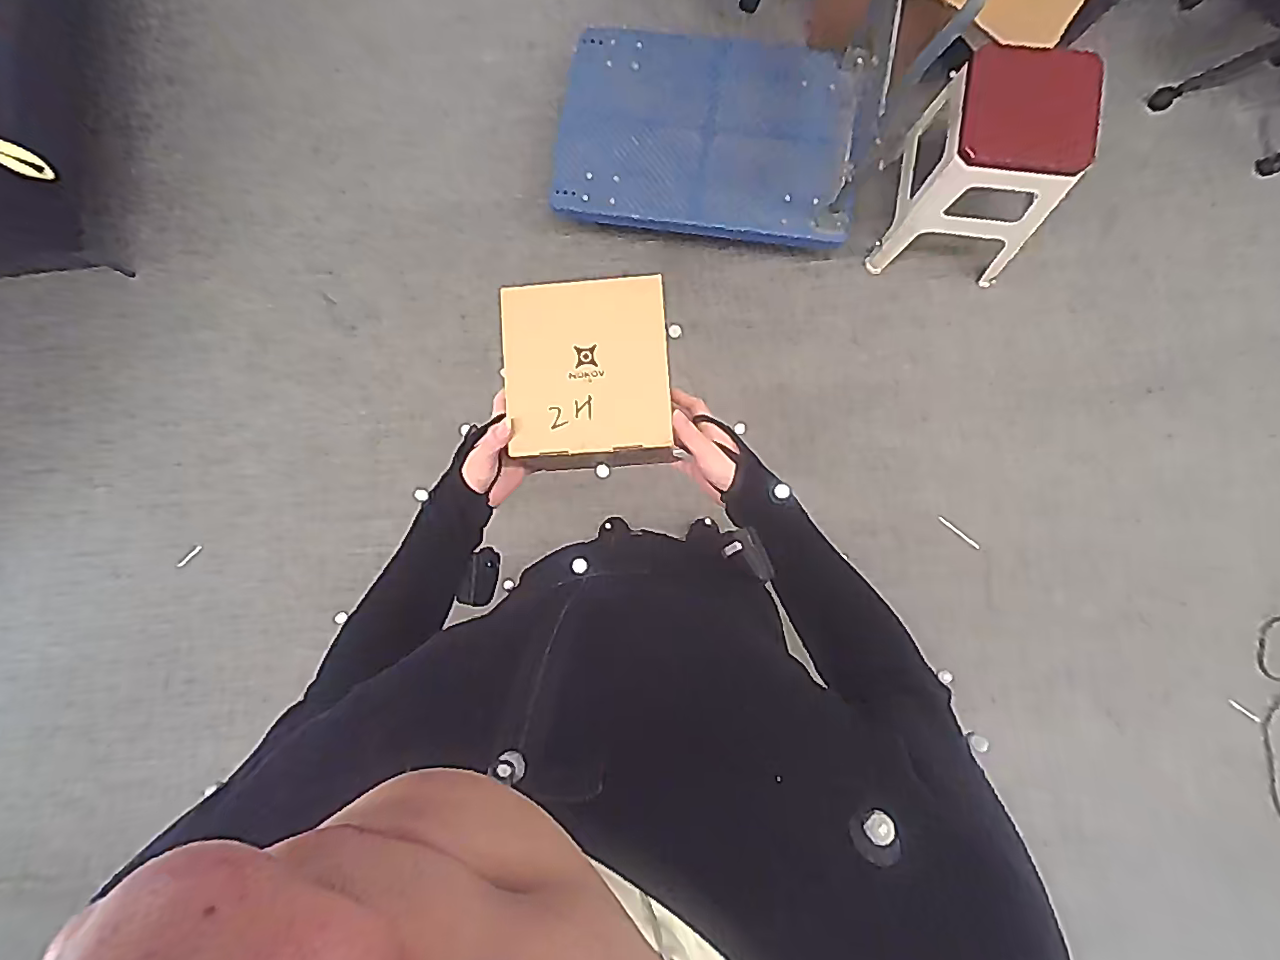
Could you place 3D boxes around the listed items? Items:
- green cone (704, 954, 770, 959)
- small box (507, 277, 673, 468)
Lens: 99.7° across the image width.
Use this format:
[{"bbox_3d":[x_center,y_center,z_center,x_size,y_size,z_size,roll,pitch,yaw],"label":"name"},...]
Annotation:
[{"bbox_3d":[0.269,1.437,1.357,0.202,0.368,0.200,-3,86,2],"label":"green cone"},{"bbox_3d":[-0.051,-0.112,0.628,0.168,0.176,0.179,-3,86,2],"label":"small box"}]
